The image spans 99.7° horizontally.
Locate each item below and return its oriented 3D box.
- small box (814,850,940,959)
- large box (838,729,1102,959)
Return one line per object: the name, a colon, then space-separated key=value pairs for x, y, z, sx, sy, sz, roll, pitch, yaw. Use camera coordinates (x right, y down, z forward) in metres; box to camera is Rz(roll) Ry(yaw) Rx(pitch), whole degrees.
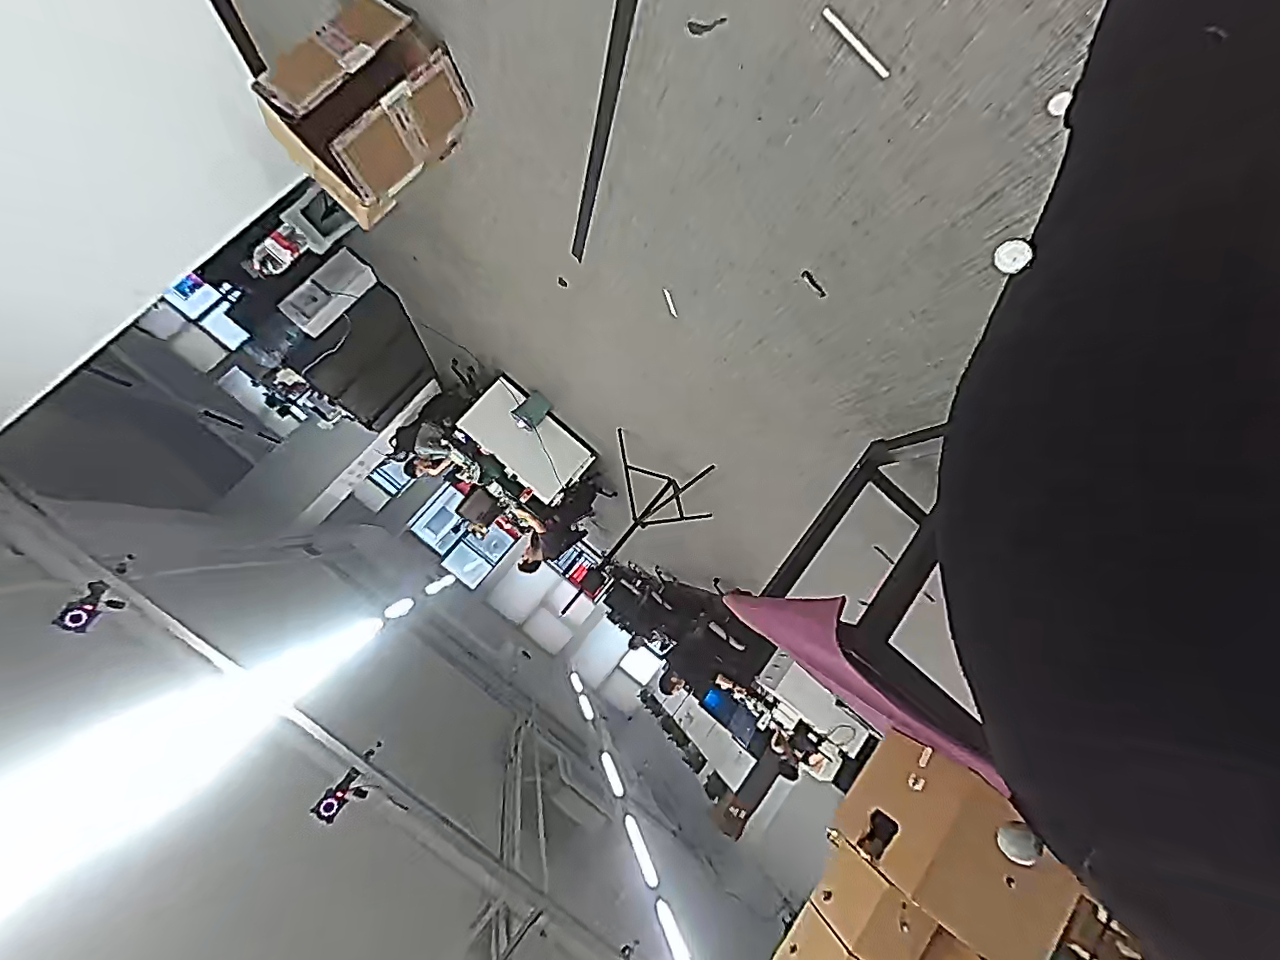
small box: x=0.554 y=1.016 z=1.267 sx=0.168 sy=0.176 sz=0.179 roll=39 pitch=169 yaw=-7
large box: x=0.791 y=0.902 z=1.331 sx=0.408 sy=0.320 sz=0.320 roll=40 pitch=170 yaw=-7
